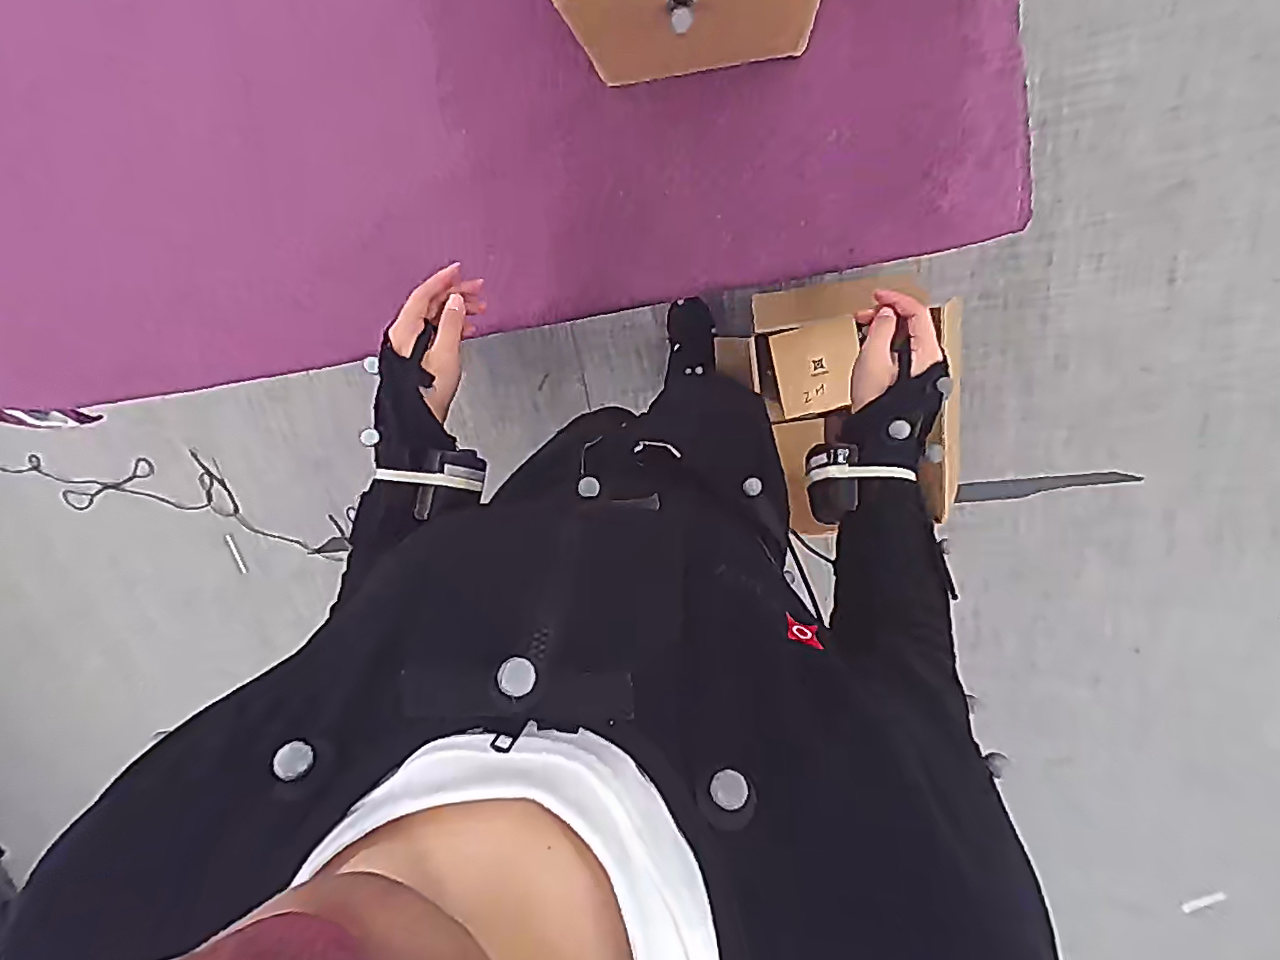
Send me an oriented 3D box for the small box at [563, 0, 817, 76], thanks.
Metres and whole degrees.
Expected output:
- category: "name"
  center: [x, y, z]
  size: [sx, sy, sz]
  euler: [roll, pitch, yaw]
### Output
- category: "small box"
  center: [0.038, -0.411, 0.370]
  size: [0.179, 0.176, 0.168]
  euler: [-1, 109, 11]
